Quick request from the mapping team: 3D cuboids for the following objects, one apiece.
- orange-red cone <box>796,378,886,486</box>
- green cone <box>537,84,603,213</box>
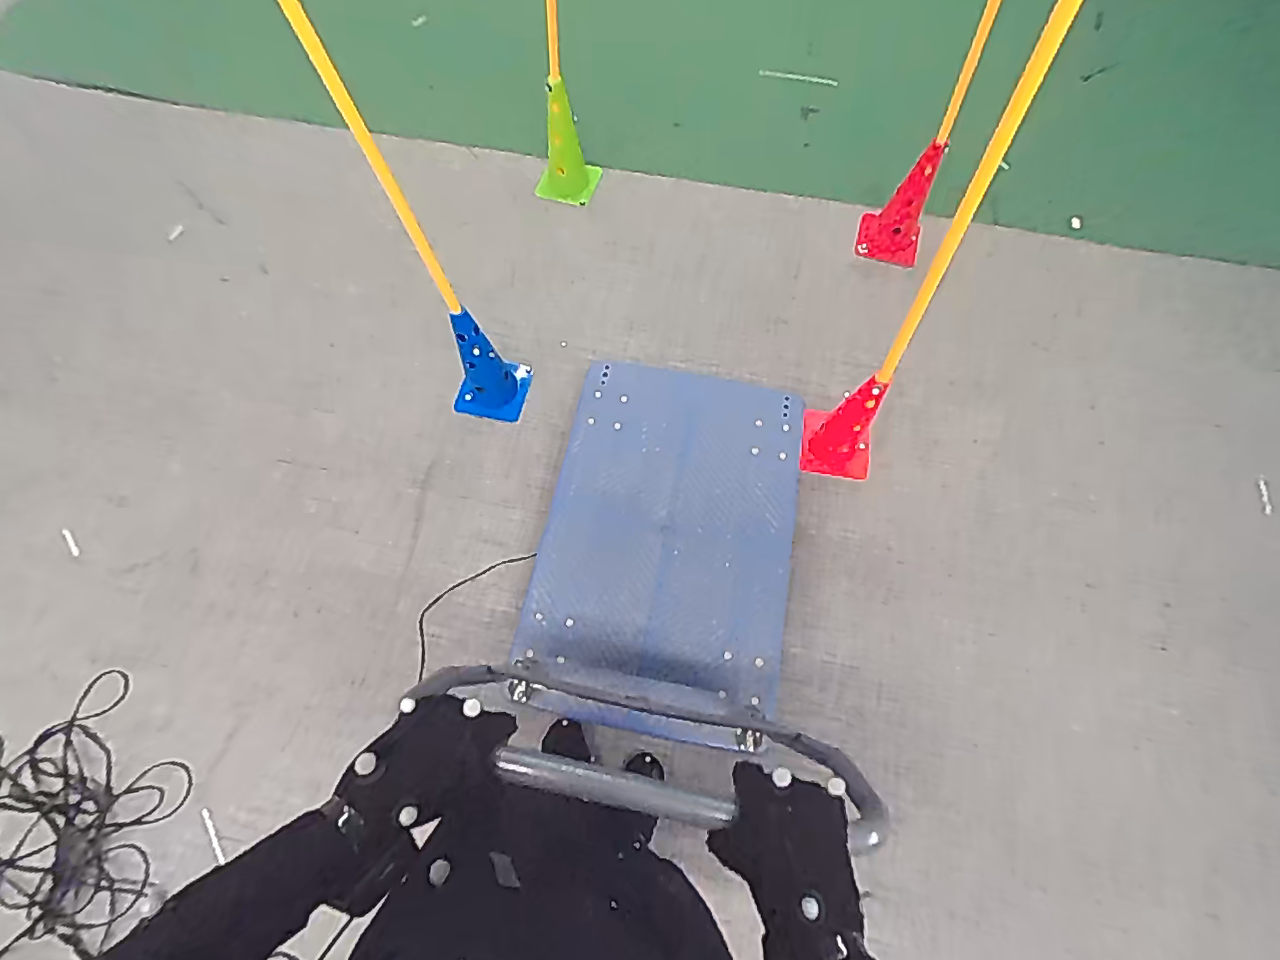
[{"bbox_3d":[0.551,-0.151,1.408,0.199,0.360,0.198,10,67,6],"label":"orange-red cone"},{"bbox_3d":[-0.254,-1.120,1.801,0.202,0.368,0.200,15,68,7],"label":"green cone"}]
